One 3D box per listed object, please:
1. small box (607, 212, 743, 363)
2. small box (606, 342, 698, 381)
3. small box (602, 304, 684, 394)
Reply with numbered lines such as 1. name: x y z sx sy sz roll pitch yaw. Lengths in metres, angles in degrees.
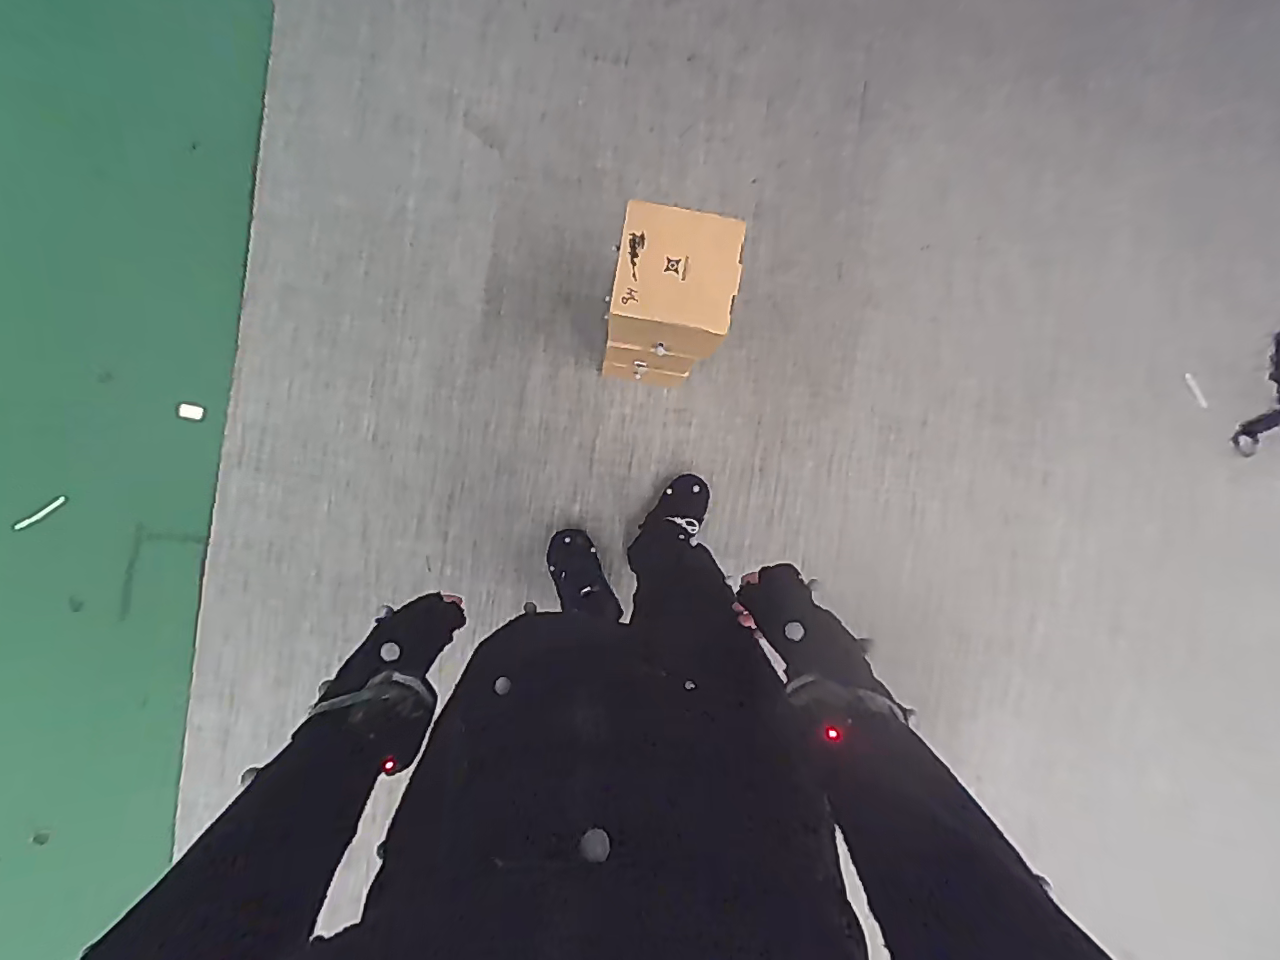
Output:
1. small box: 0.046 -0.292 0.861 0.179 0.176 0.168 10 90 -4
2. small box: 0.027 -0.296 1.024 0.168 0.176 0.179 7 91 -3
3. small box: 0.011 -0.291 1.201 0.179 0.176 0.168 8 91 -5
